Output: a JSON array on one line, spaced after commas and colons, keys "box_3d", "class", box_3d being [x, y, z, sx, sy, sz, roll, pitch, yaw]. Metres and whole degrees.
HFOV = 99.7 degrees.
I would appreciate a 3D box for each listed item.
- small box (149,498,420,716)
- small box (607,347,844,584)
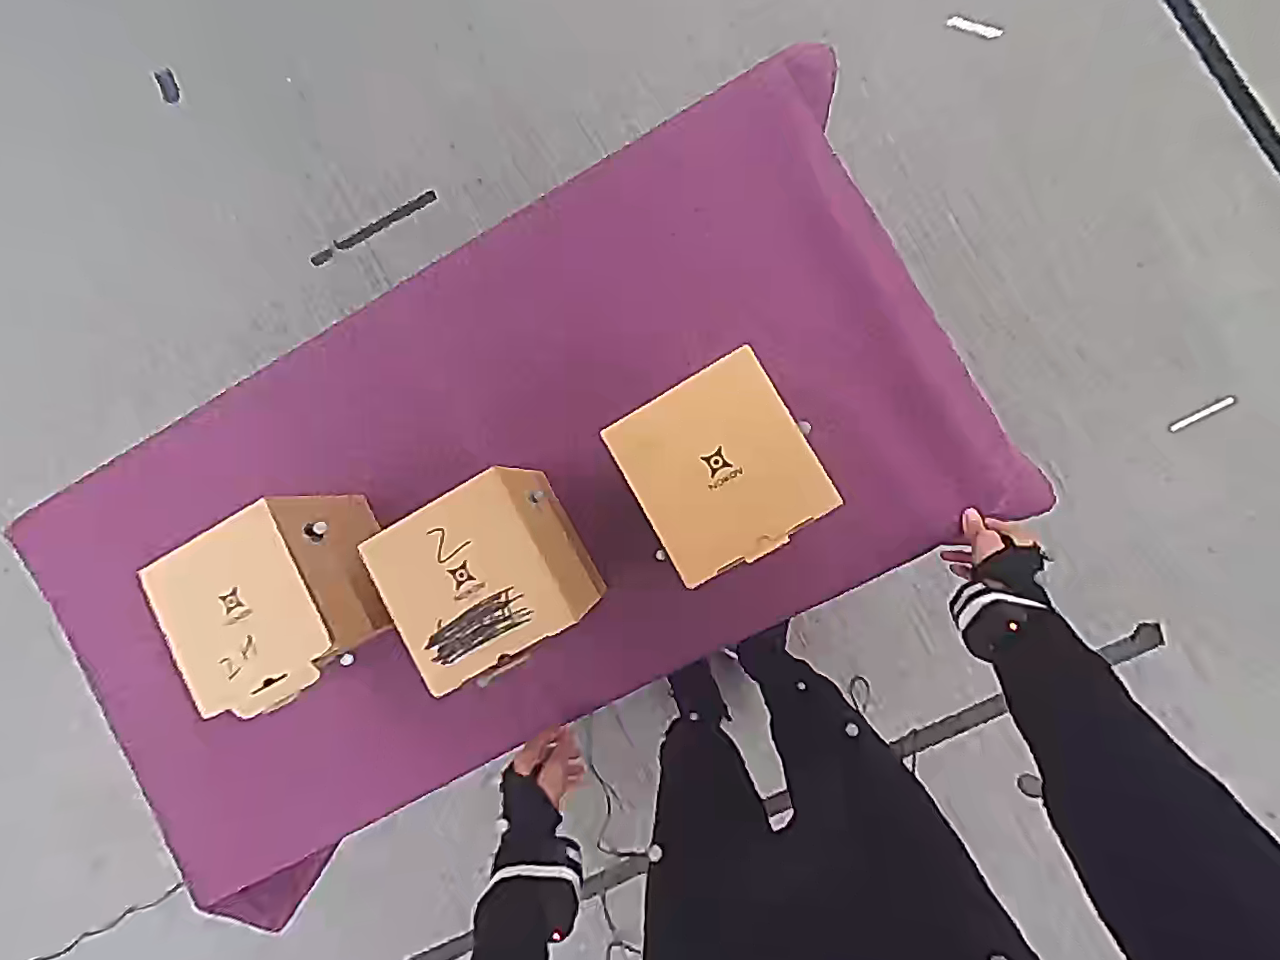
[{"box_3d": [-0.400, 0.135, 0.638, 0.168, 0.176, 0.179, -29, 86, 5], "class": "small box"}, {"box_3d": [0.085, -0.011, 0.589, 0.168, 0.176, 0.179, -31, 86, 5], "class": "small box"}]
